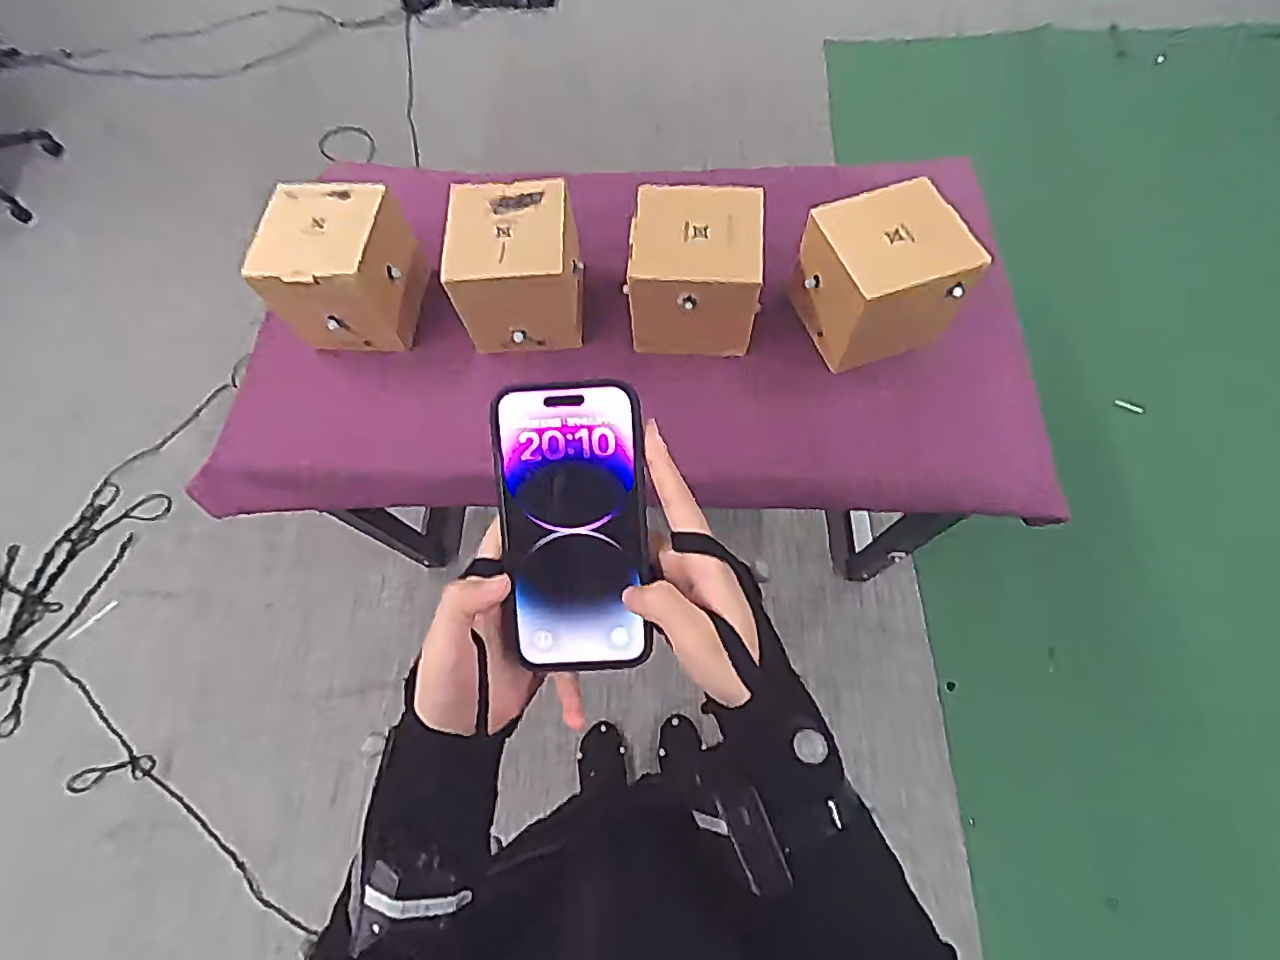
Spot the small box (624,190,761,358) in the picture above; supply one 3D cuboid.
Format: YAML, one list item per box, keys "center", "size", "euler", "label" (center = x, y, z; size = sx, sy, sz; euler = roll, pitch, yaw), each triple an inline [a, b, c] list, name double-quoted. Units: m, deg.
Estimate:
- center: [0.078, -0.296, 0.799]
  size: [0.179, 0.176, 0.168]
  euler: [4, 68, 5]
  label: "small box"

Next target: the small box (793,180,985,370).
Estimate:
- center: [0.335, -0.284, 0.778]
  size: [0.179, 0.176, 0.168]
  euler: [-18, 67, -4]
  label: "small box"

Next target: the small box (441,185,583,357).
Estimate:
- center: [-0.181, -0.310, 0.819]
  size: [0.168, 0.176, 0.179]
  euler: [-3, 68, 2]
  label: "small box"

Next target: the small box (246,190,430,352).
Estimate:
- center: [-0.448, -0.314, 0.836]
  size: [0.168, 0.176, 0.179]
  euler: [2, 68, 4]
  label: "small box"
